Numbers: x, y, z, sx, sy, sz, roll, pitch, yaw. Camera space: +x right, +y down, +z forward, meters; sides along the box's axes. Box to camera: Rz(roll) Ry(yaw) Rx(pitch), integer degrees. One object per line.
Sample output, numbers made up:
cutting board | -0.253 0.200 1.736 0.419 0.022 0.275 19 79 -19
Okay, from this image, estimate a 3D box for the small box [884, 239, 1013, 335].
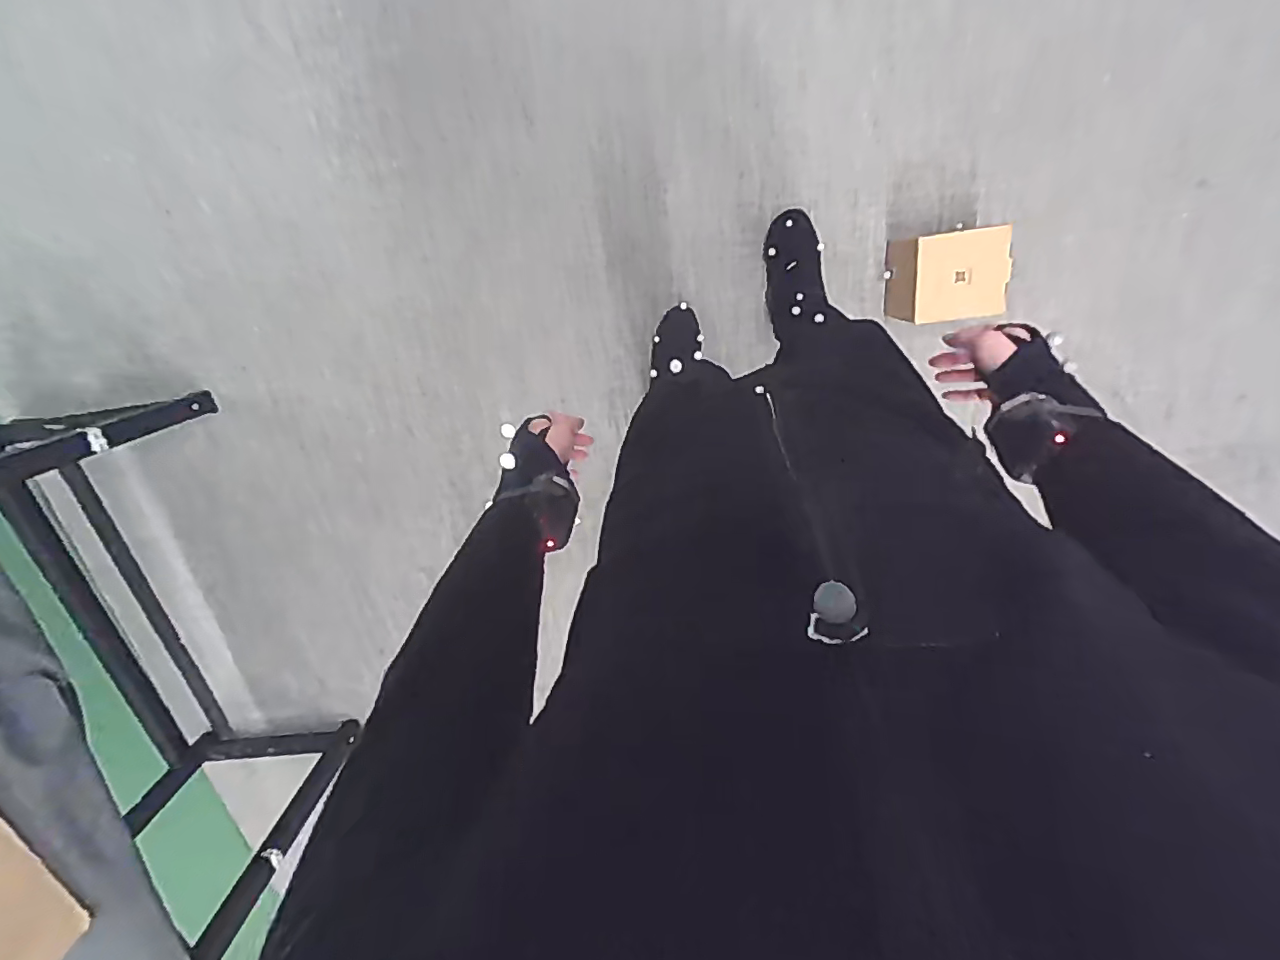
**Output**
small box | 0.635 -0.407 1.133 0.179 0.176 0.168 -5 111 6
